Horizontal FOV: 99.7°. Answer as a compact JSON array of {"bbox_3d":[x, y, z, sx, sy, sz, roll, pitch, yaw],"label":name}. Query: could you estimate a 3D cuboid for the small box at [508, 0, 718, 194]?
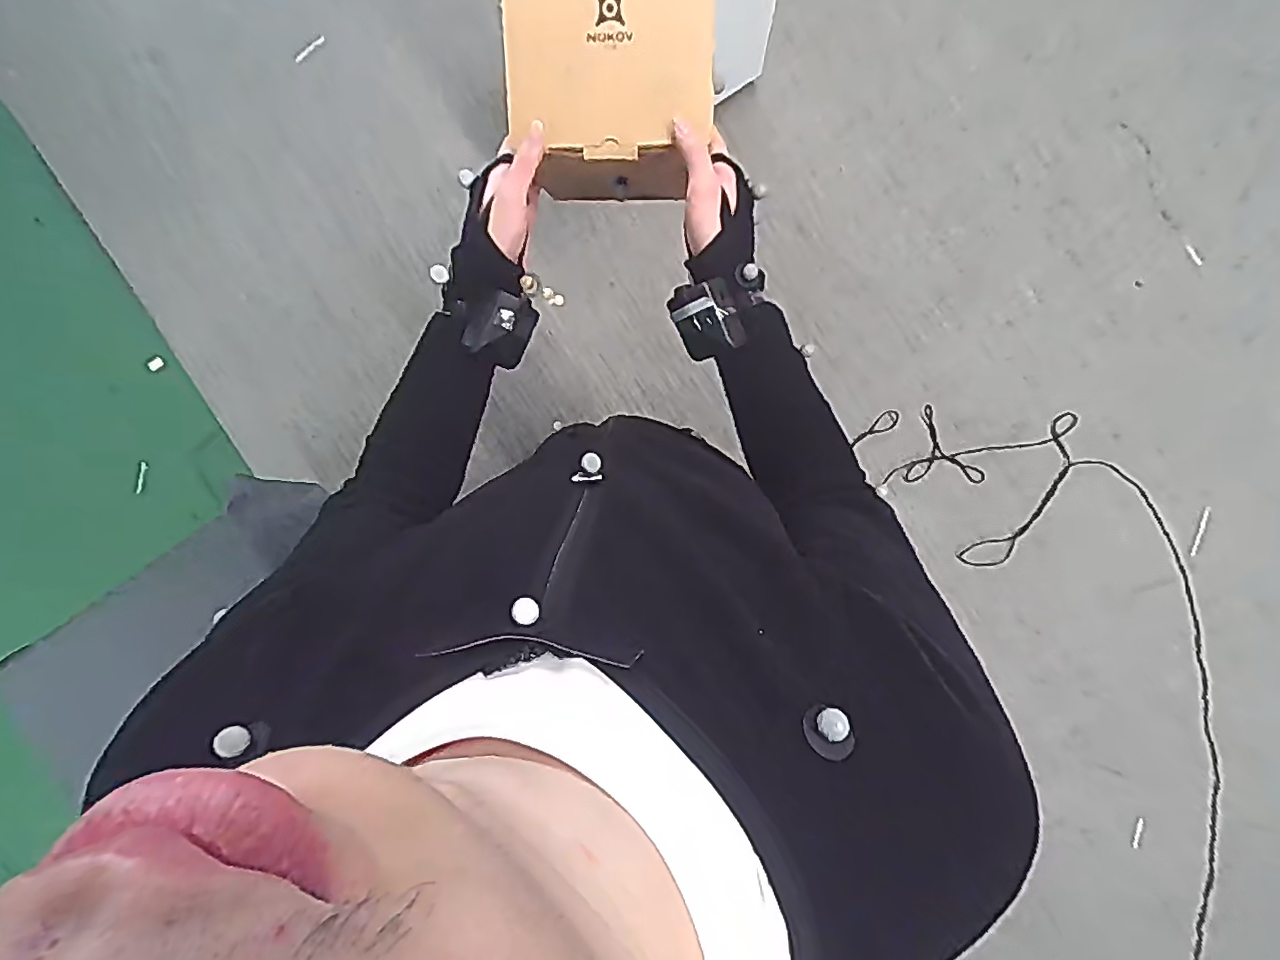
[{"bbox_3d":[-0.014,-0.374,0.495,0.168,0.176,0.179,-1,105,4],"label":"small box"}]
